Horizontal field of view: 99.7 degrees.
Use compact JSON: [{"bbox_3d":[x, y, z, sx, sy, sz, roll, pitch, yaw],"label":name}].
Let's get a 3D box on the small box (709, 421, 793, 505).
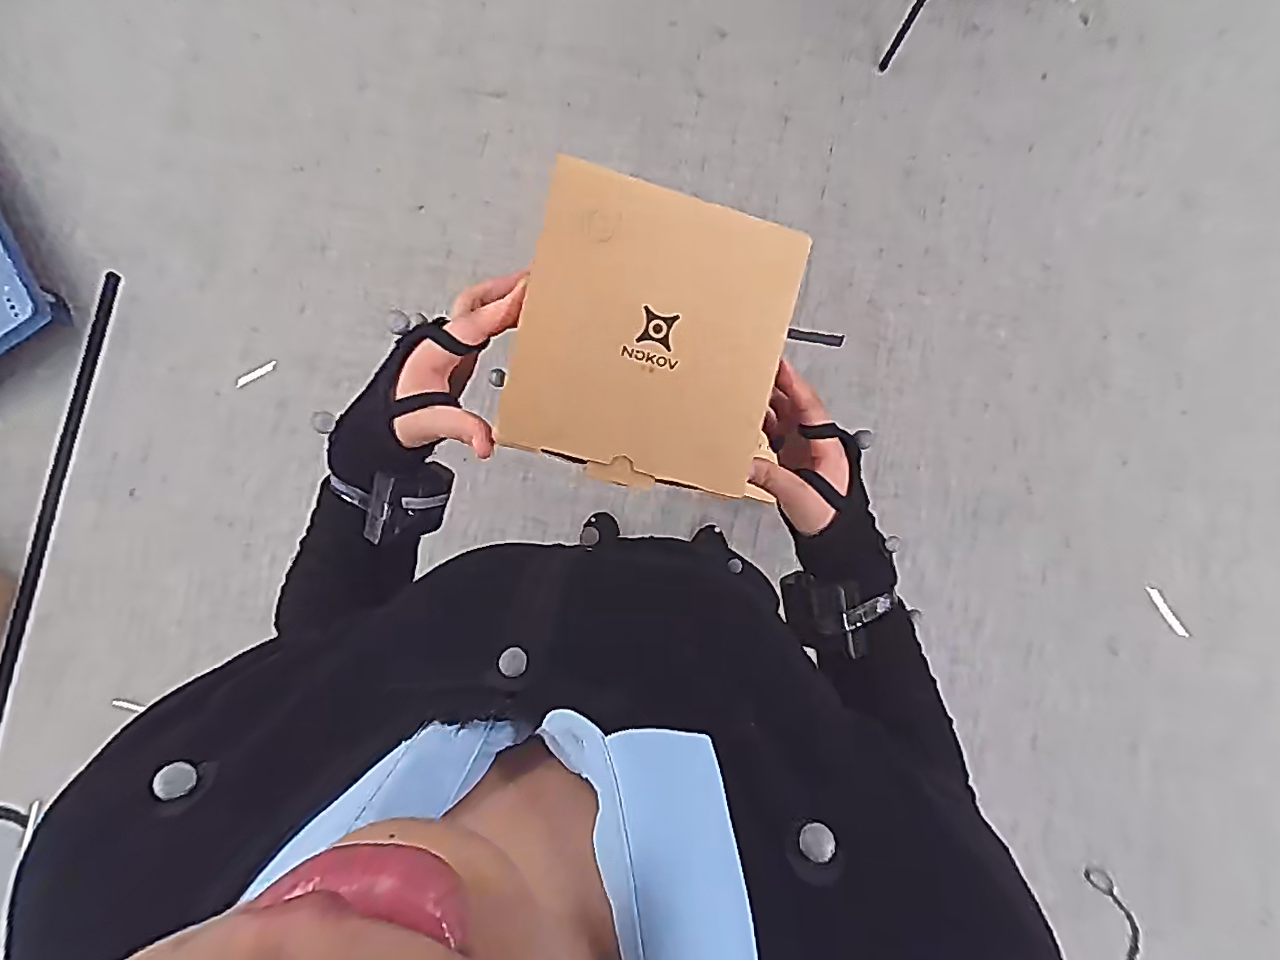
[{"bbox_3d":[0.283,-0.038,1.416,0.168,0.176,0.179,16,87,3],"label":"small box"}]
